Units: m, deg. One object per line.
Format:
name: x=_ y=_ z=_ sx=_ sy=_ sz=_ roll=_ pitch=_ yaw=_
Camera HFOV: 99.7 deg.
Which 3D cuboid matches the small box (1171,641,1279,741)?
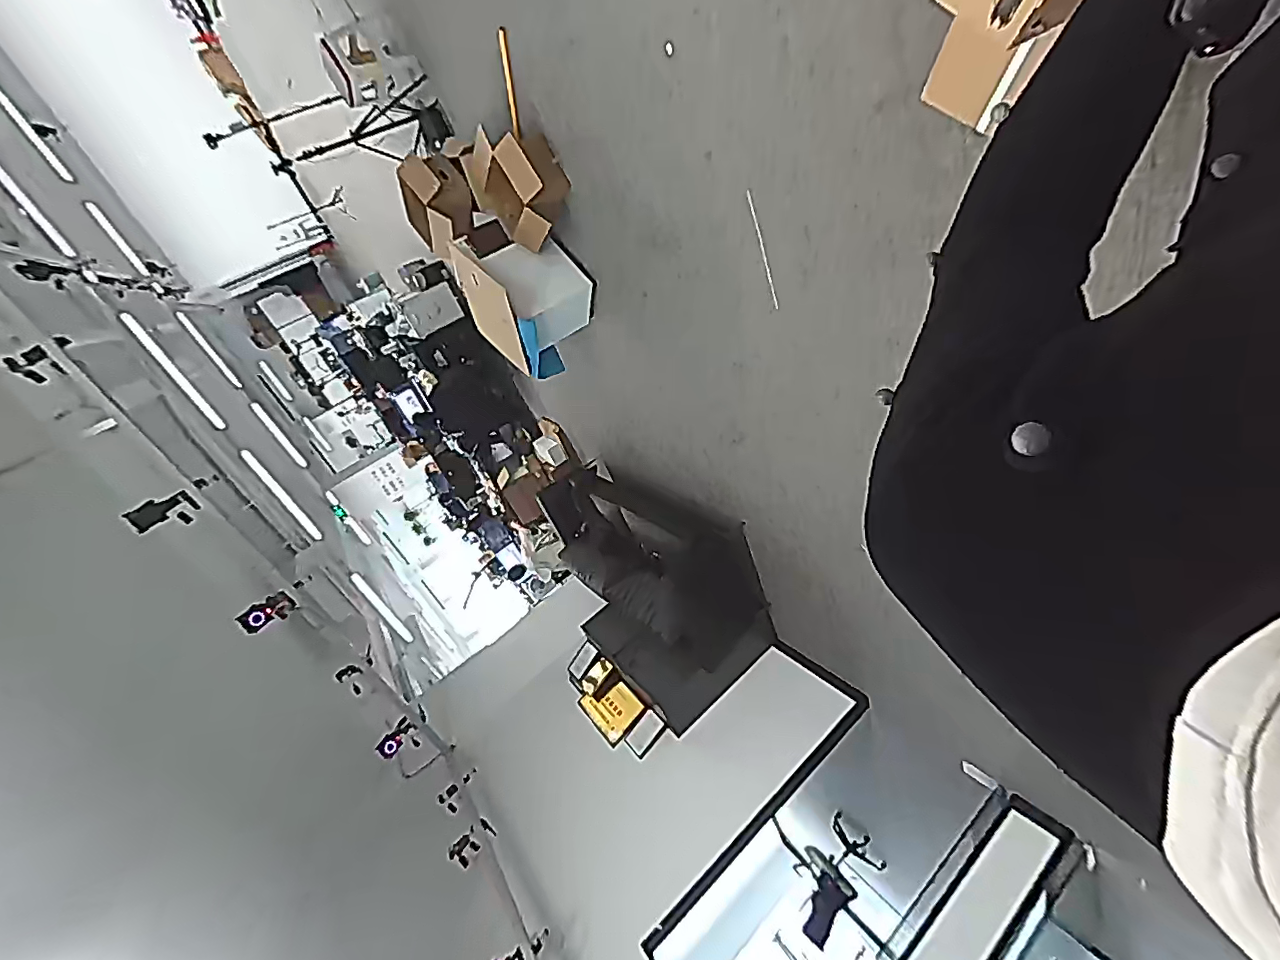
small box: x=1.672 y=0.589 z=1.542 sx=0.179 sy=0.176 sz=0.168 roll=21 pitch=141 yaw=56
